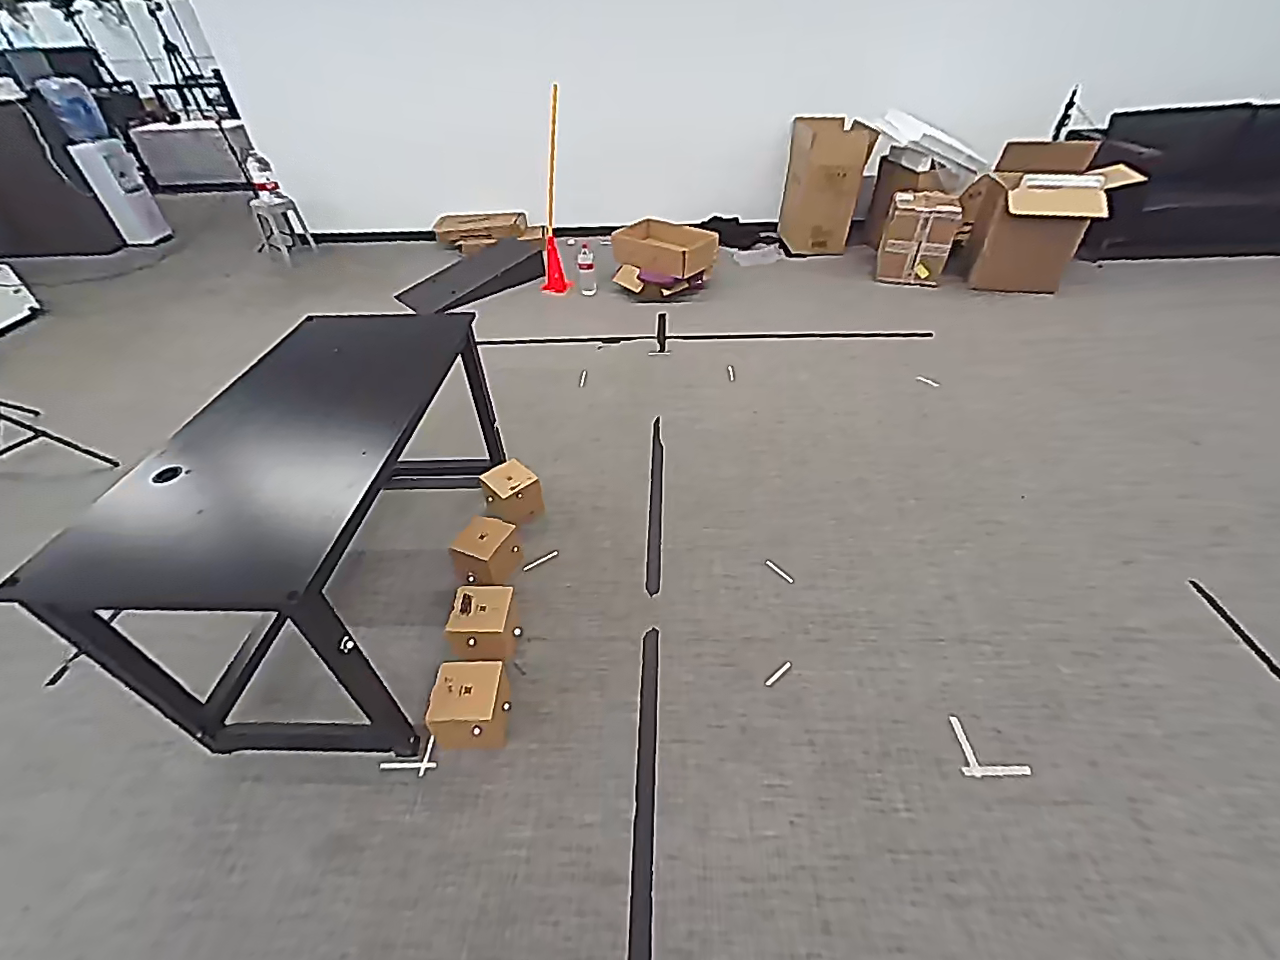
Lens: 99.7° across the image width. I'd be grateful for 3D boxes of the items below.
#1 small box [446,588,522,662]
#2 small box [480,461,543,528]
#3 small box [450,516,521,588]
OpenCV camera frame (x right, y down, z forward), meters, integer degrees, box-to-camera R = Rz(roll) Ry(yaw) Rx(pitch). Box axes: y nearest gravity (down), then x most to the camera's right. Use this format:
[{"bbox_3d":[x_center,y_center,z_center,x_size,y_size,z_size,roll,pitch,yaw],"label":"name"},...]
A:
[{"bbox_3d":[-0.481,0.456,1.693,0.179,0.176,0.168,0,42,1],"label":"small box"},{"bbox_3d":[-0.505,0.059,2.140,0.168,0.176,0.179,-35,51,-31],"label":"small box"},{"bbox_3d":[-0.538,0.262,1.917,0.168,0.176,0.179,14,45,19],"label":"small box"}]
